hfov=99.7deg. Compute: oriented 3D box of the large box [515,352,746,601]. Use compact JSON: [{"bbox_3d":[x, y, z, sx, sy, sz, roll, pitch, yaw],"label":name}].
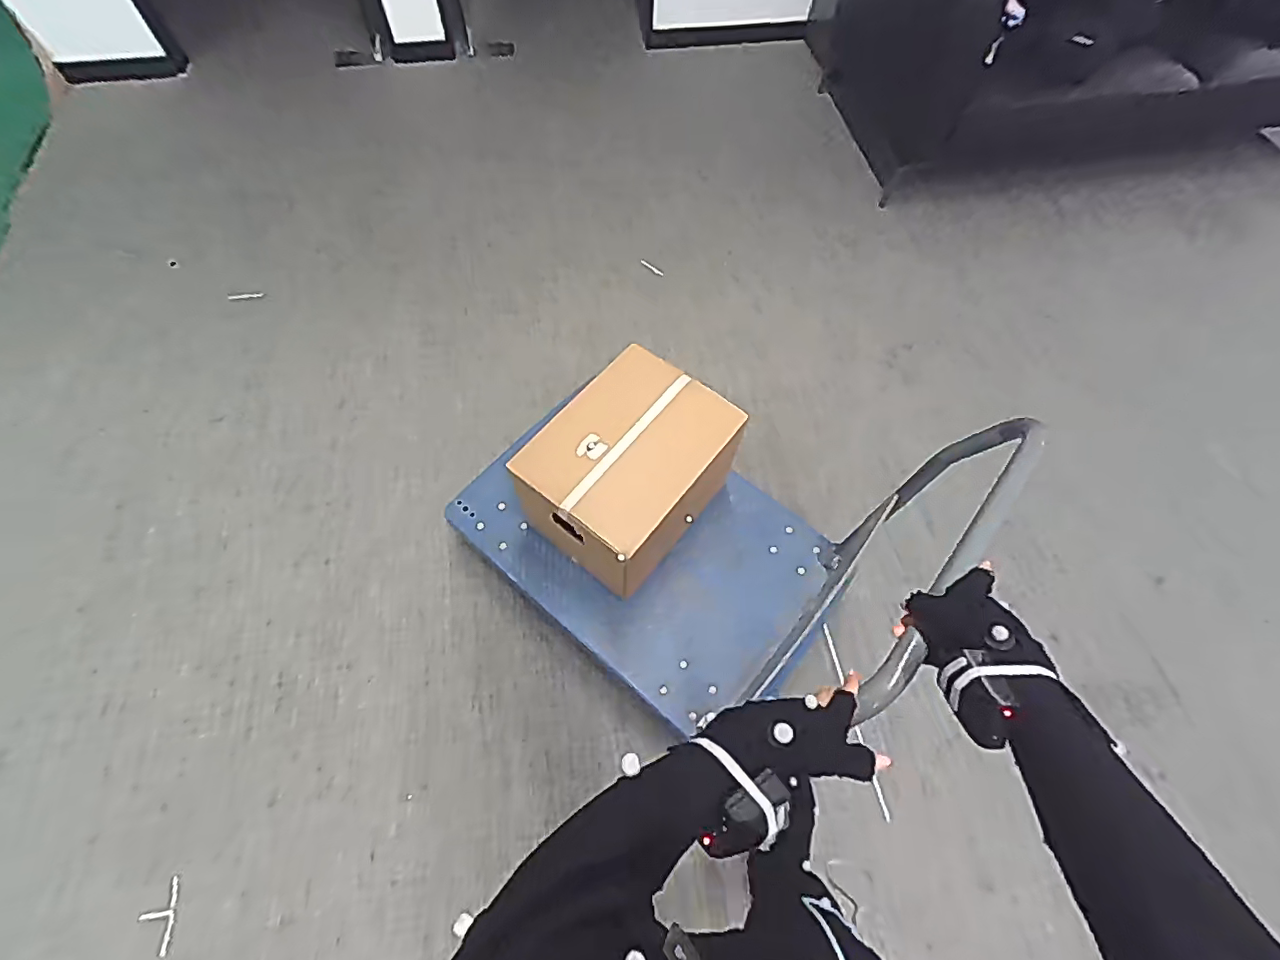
[{"bbox_3d":[-0.013,-0.002,1.231,0.320,0.320,0.408,34,68,16],"label":"large box"}]
